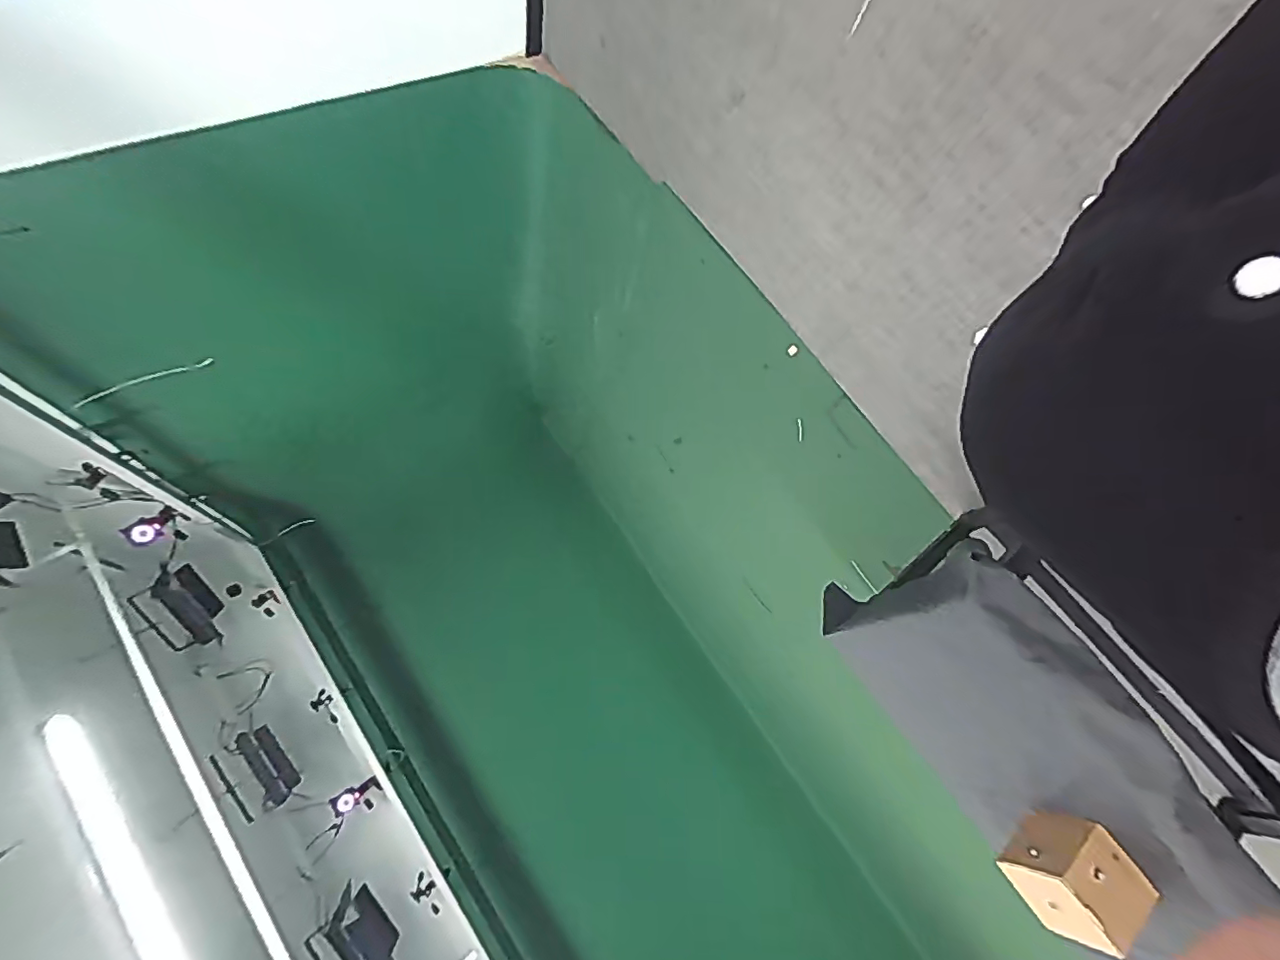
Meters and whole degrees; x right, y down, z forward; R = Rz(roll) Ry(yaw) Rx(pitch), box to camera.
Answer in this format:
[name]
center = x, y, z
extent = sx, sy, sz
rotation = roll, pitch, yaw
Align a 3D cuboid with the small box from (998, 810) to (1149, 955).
[small box]
center = 0.945, 0.856, 1.175
extent = 0.168, 0.176, 0.179
rotation = 54, 158, 13
